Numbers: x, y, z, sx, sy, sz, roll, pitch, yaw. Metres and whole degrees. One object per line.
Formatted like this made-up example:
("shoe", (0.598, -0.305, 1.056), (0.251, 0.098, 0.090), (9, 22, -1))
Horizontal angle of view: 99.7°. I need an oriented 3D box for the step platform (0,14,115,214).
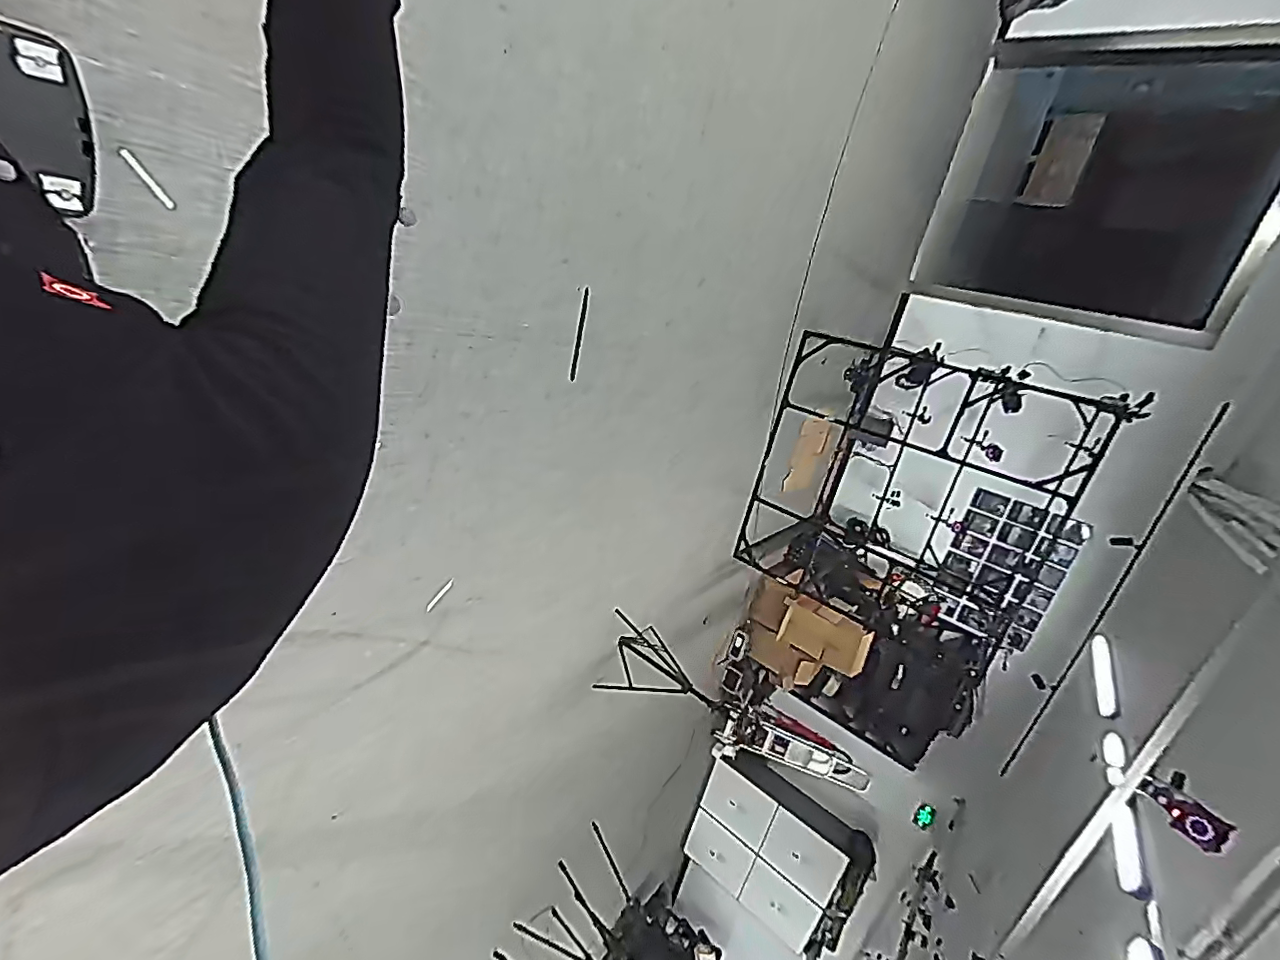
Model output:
("step platform", (-1.216, -0.595, 0.760), (0.684, 0.204, 0.286), (-16, 125, -52))
